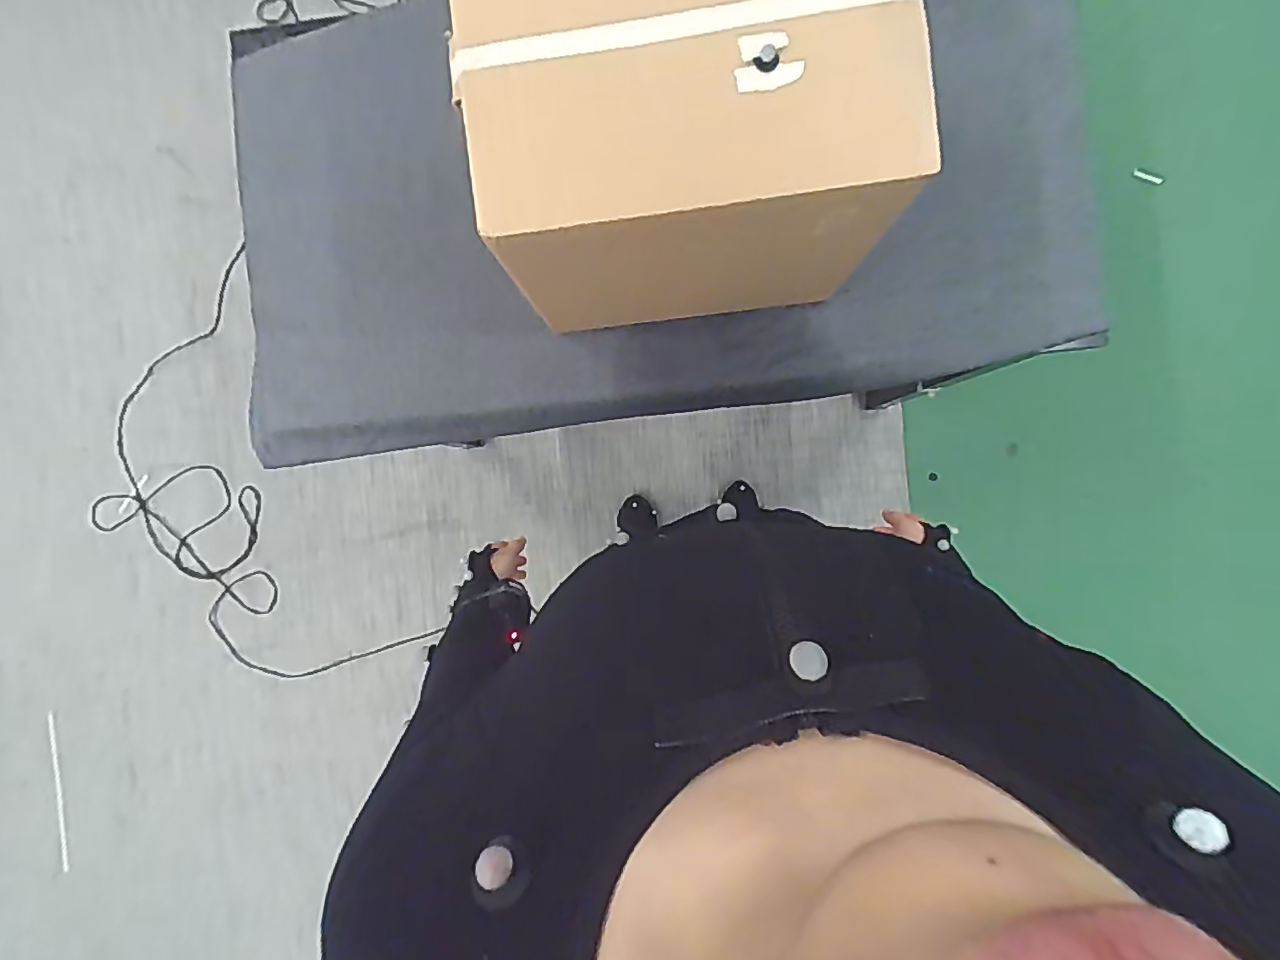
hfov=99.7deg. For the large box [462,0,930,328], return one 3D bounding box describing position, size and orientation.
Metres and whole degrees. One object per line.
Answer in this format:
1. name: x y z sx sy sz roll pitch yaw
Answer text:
1. large box: 0.047 -0.397 0.634 0.408 0.320 0.320 -7 90 3
